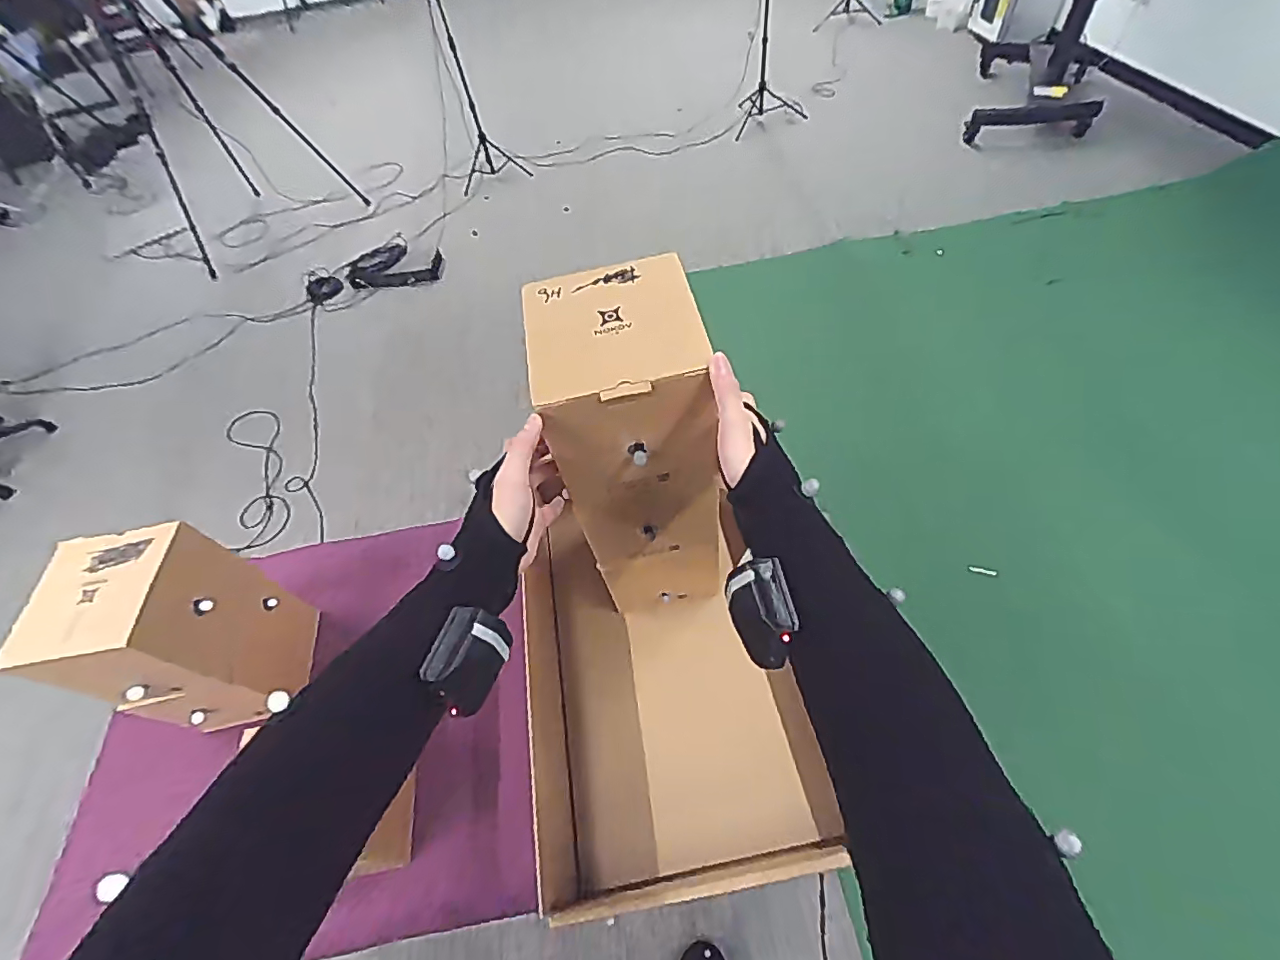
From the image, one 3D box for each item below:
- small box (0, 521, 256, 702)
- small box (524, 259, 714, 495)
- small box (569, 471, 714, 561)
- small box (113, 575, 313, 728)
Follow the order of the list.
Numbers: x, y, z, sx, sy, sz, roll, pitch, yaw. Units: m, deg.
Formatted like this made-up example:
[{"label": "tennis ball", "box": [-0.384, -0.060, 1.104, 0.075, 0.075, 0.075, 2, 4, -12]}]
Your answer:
[{"label": "small box", "box": [-0.669, 0.181, 0.732, 0.168, 0.176, 0.179, -9, 54, 1]}, {"label": "small box", "box": [-0.018, -0.099, 0.578, 0.168, 0.176, 0.179, -12, 56, 0]}, {"label": "small box", "box": [0.003, -0.006, 0.711, 0.168, 0.176, 0.179, -10, 54, 1]}, {"label": "small box", "box": [-0.657, 0.281, 0.862, 0.168, 0.176, 0.179, -13, 52, -2]}]
